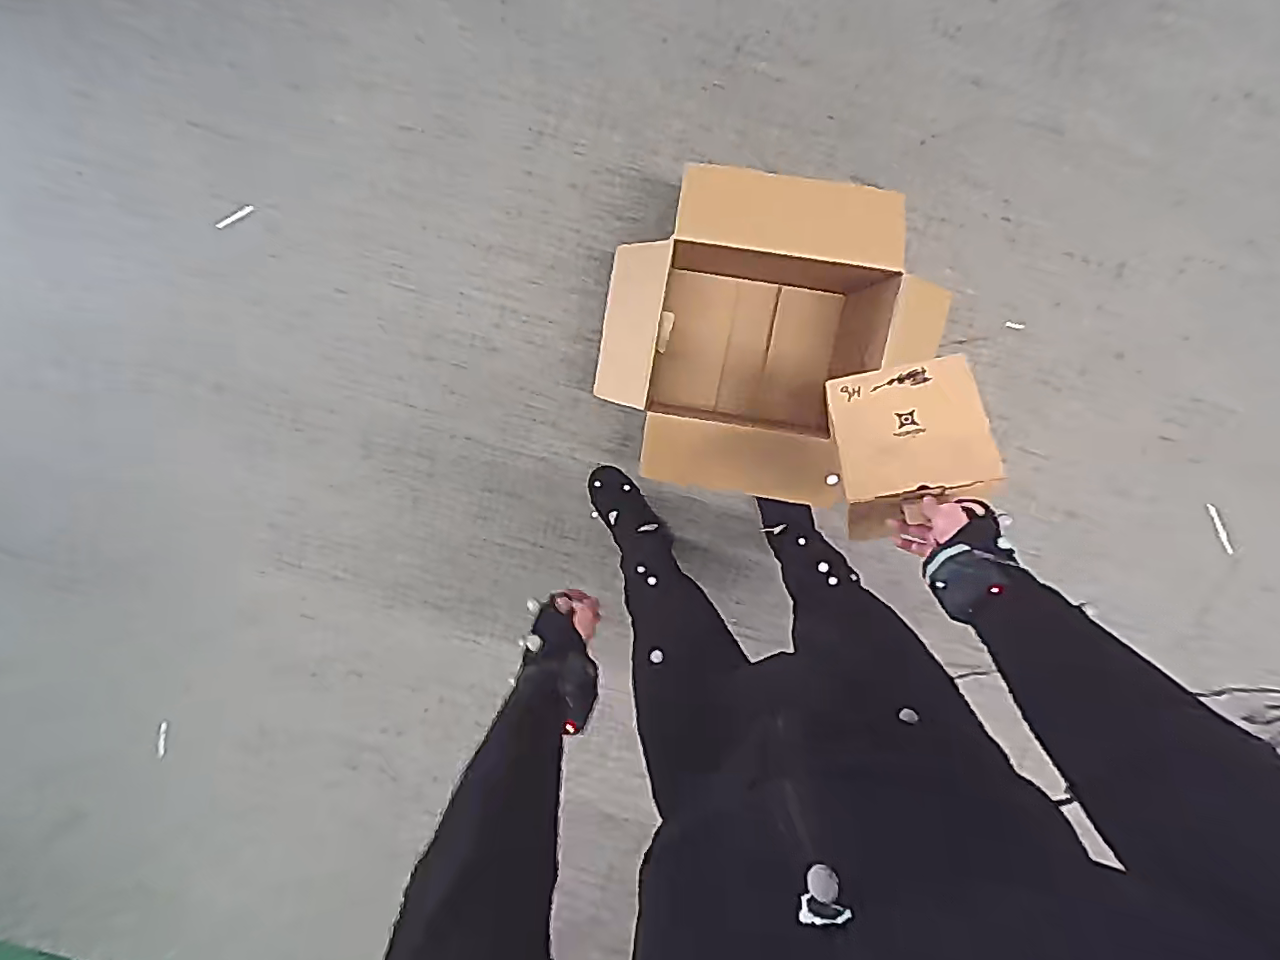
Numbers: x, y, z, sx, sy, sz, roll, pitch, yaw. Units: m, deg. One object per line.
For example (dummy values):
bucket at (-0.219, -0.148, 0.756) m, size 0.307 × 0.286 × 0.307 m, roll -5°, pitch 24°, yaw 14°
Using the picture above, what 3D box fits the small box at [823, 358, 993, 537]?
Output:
small box at (0.345, -0.030, 0.722) m, size 0.168 × 0.176 × 0.179 m, roll -8°, pitch 62°, yaw 19°
